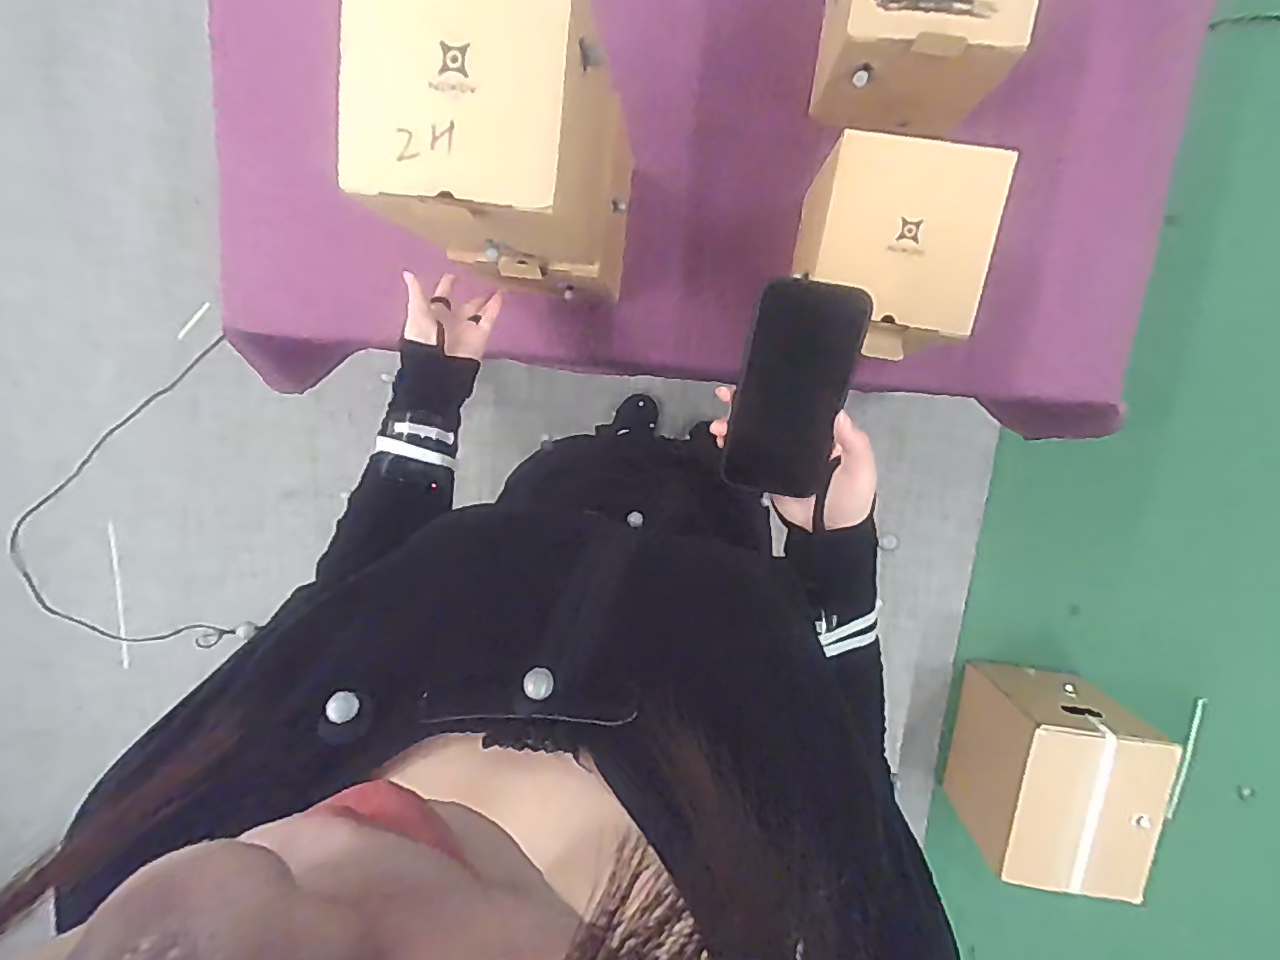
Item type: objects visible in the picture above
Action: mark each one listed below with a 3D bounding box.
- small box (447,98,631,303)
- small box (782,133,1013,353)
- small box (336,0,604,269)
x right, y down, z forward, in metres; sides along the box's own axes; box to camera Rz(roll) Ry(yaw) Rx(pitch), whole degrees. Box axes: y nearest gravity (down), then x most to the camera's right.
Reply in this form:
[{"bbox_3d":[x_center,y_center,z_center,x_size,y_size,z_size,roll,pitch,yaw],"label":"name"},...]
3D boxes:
[{"bbox_3d":[-0.106,-0.314,0.630,0.168,0.176,0.179,8,99,3],"label":"small box"},{"bbox_3d":[0.267,-0.248,0.608,0.168,0.176,0.179,10,100,3],"label":"small box"},{"bbox_3d":[-0.129,-0.300,0.466,0.168,0.176,0.179,8,99,4],"label":"small box"}]
